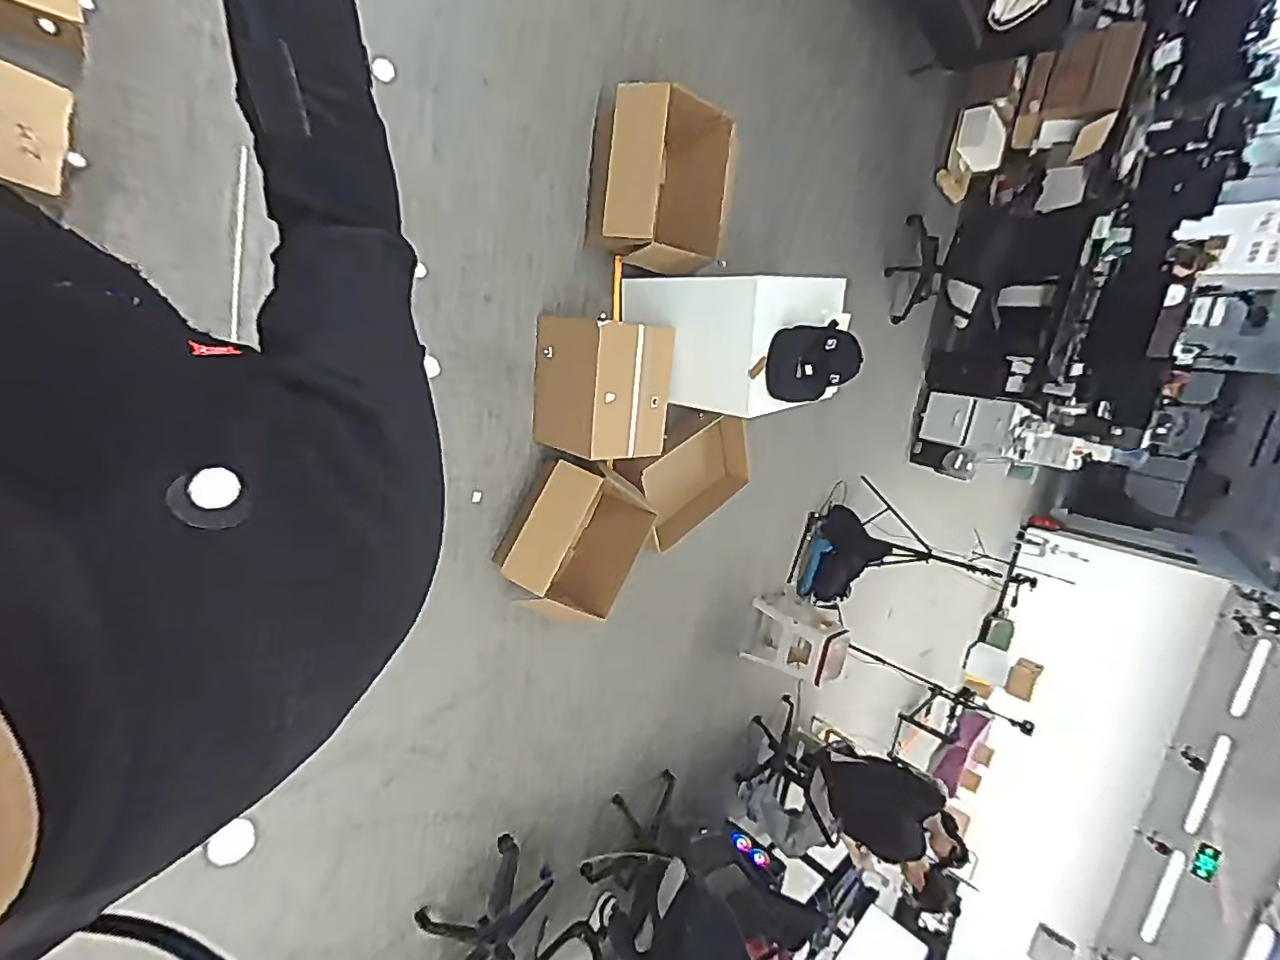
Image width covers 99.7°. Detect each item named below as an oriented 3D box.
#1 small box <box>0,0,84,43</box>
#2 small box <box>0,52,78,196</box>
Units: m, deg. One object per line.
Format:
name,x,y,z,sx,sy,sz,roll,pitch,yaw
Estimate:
small box,-0.967,-0.806,0.812,0.179,0.176,0.168,-6,108,-45
small box,-1.017,-0.567,0.843,0.179,0.176,0.168,9,98,-47
